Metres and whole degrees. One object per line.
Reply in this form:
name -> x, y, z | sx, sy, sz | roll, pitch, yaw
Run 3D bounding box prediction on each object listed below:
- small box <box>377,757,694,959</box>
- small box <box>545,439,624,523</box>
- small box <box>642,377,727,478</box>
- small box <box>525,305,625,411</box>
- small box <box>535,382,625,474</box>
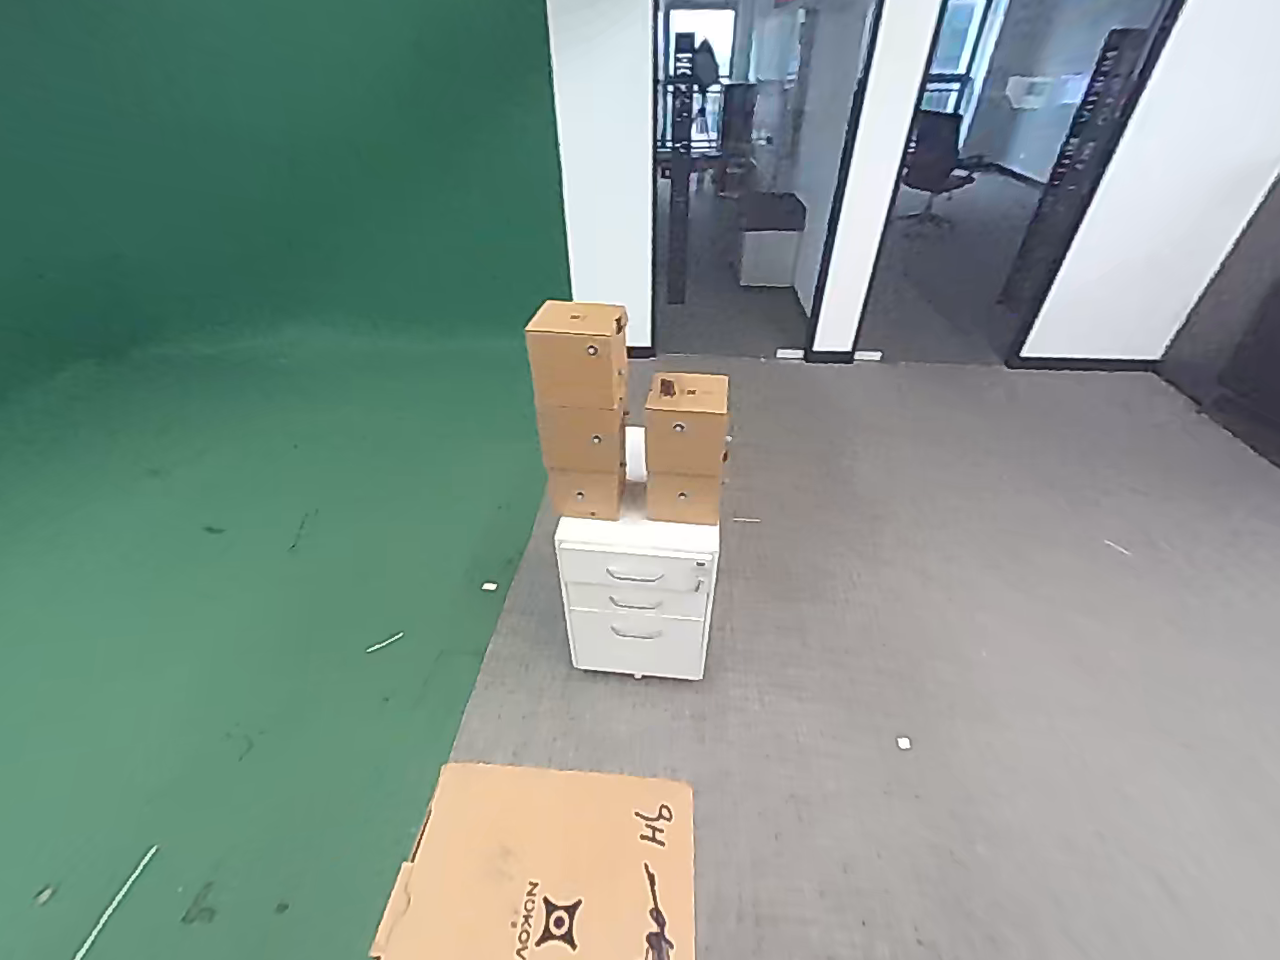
small box -> -0.059, 0.315, 0.362 | 0.179, 0.176, 0.168 | 5, 37, 2
small box -> -0.131, -0.011, 1.364 | 0.168, 0.176, 0.179 | 6, 39, 4
small box -> 0.104, -0.120, 1.238 | 0.179, 0.176, 0.168 | 4, 39, 7
small box -> -0.130, -0.260, 1.154 | 0.179, 0.176, 0.168 | 6, 38, 5
small box -> -0.131, -0.128, 1.251 | 0.179, 0.176, 0.168 | 4, 38, 4
